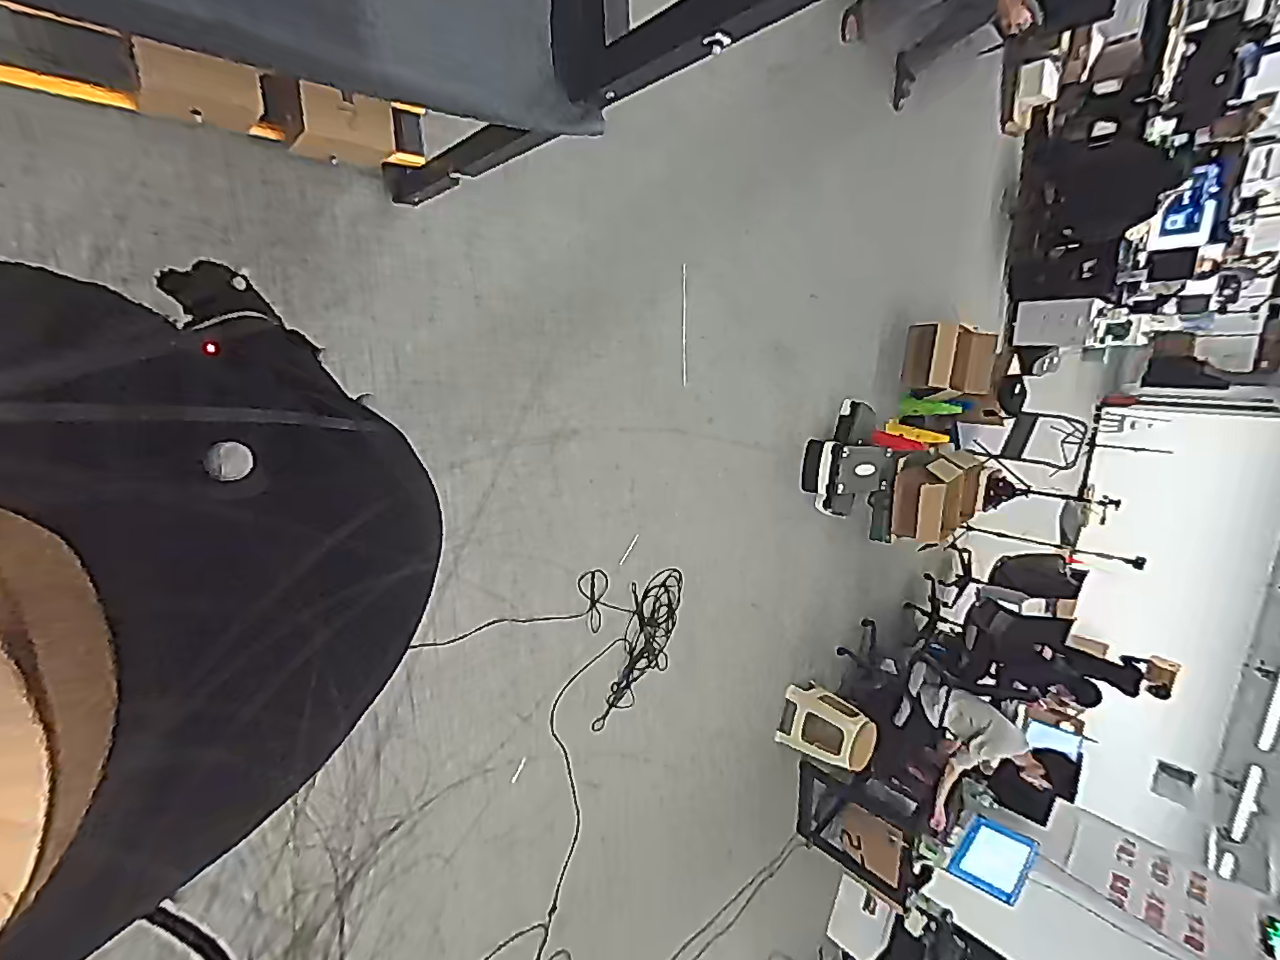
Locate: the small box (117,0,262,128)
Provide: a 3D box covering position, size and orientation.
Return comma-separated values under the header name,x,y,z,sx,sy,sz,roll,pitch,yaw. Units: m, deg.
name,x,y,z,sx,sy,sz,roll,pitch,yaw
small box,-0.774,-0.739,0.932,0.168,0.176,0.179,-14,111,-41
